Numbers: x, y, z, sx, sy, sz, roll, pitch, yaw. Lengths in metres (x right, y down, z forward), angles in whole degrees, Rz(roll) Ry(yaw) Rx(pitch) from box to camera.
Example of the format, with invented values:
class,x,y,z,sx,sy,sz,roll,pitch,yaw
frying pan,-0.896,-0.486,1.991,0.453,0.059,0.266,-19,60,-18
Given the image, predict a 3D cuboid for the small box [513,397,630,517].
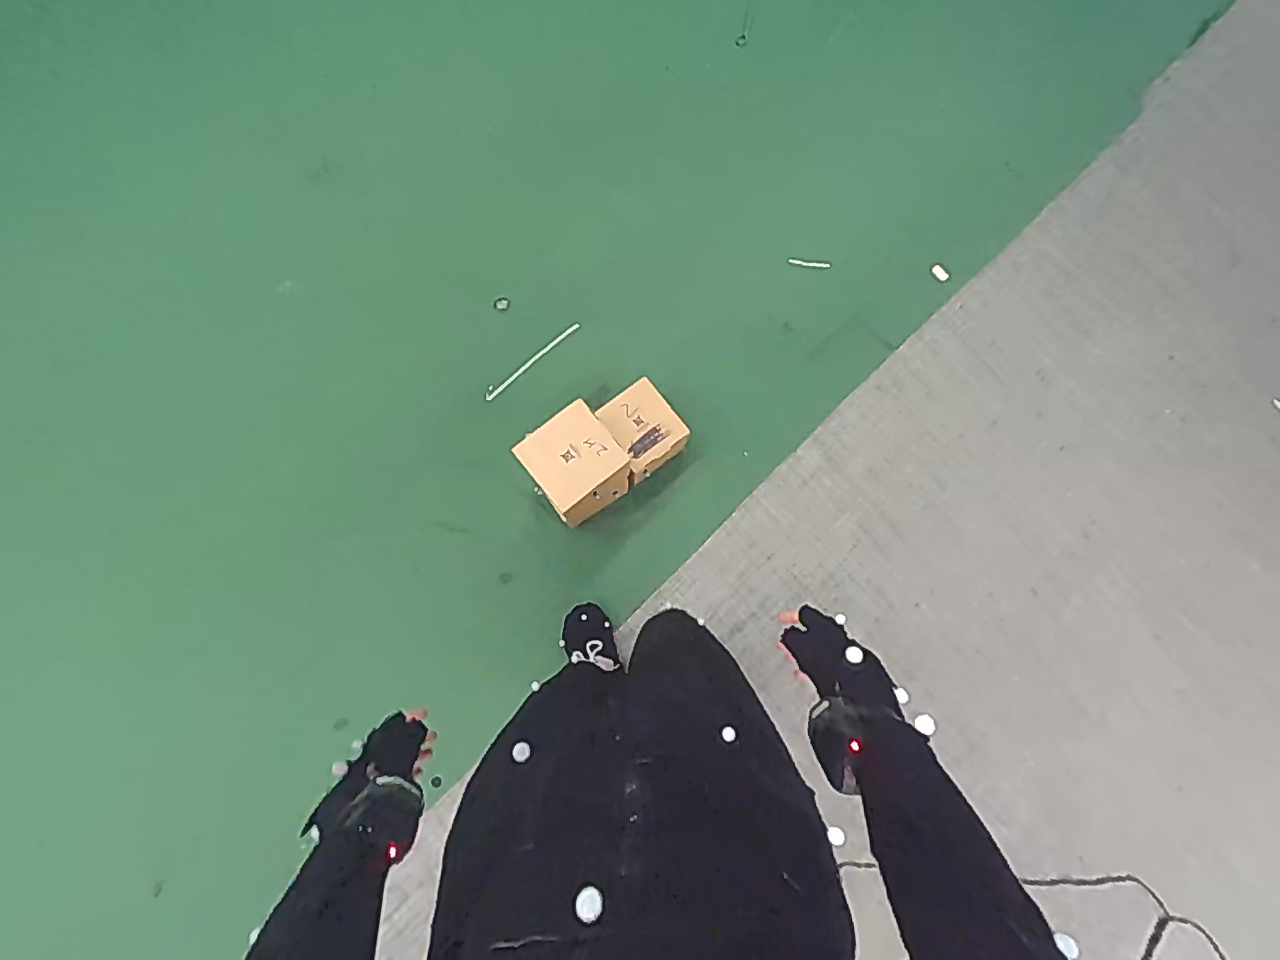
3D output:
class,x,y,z,sx,sy,sz,roll,pitch,yaw
small box,-0.137,-0.039,1.141,0.179,0.176,0.168,-39,84,-9
